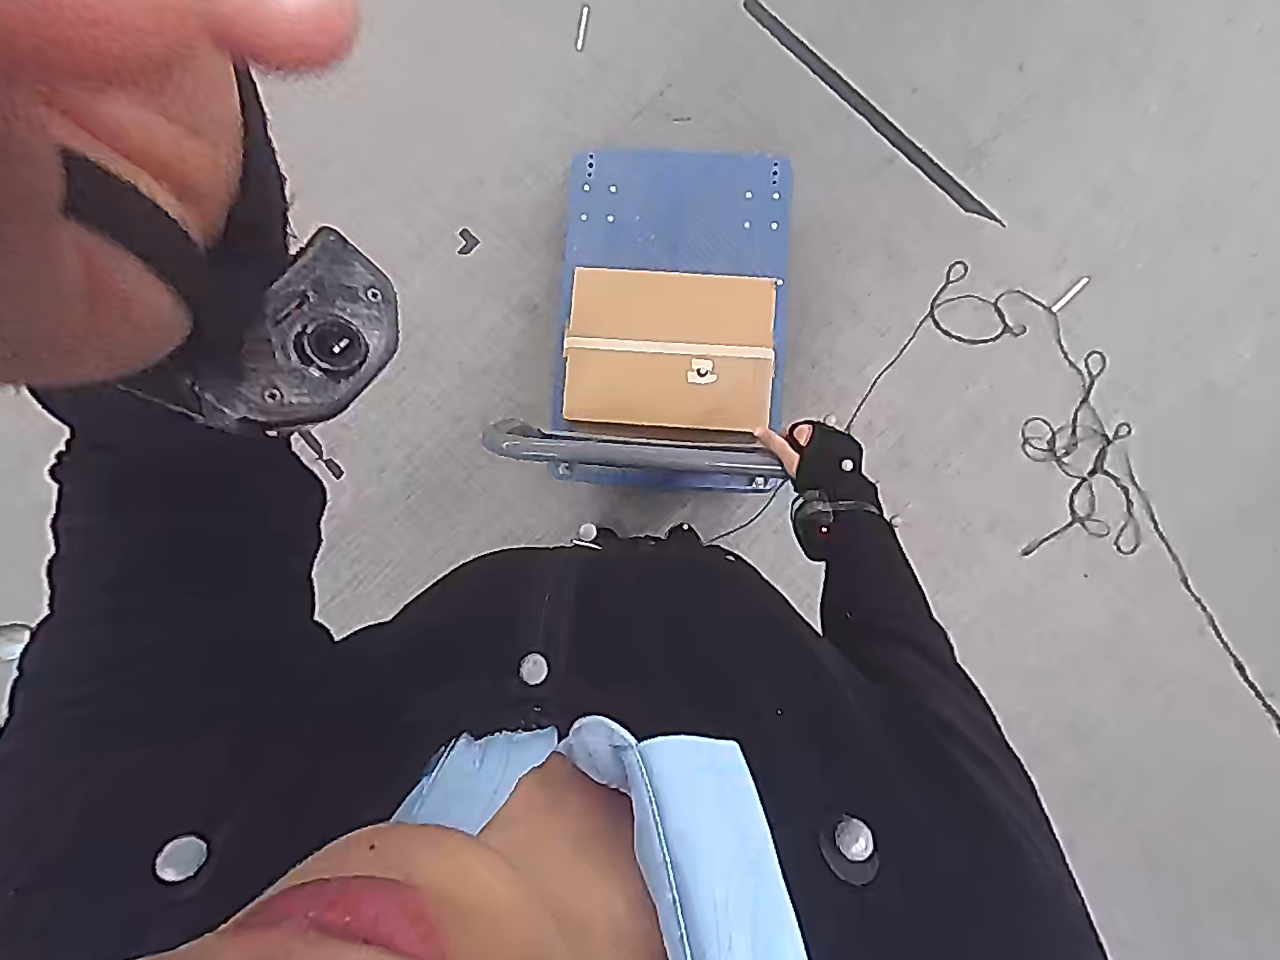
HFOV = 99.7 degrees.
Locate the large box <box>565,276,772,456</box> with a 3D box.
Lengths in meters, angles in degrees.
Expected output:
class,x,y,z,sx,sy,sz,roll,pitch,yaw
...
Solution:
class,x,y,z,sx,sy,sz,roll,pitch,yaw
large box,0.058,-0.234,1.218,0.408,0.320,0.320,4,86,1
